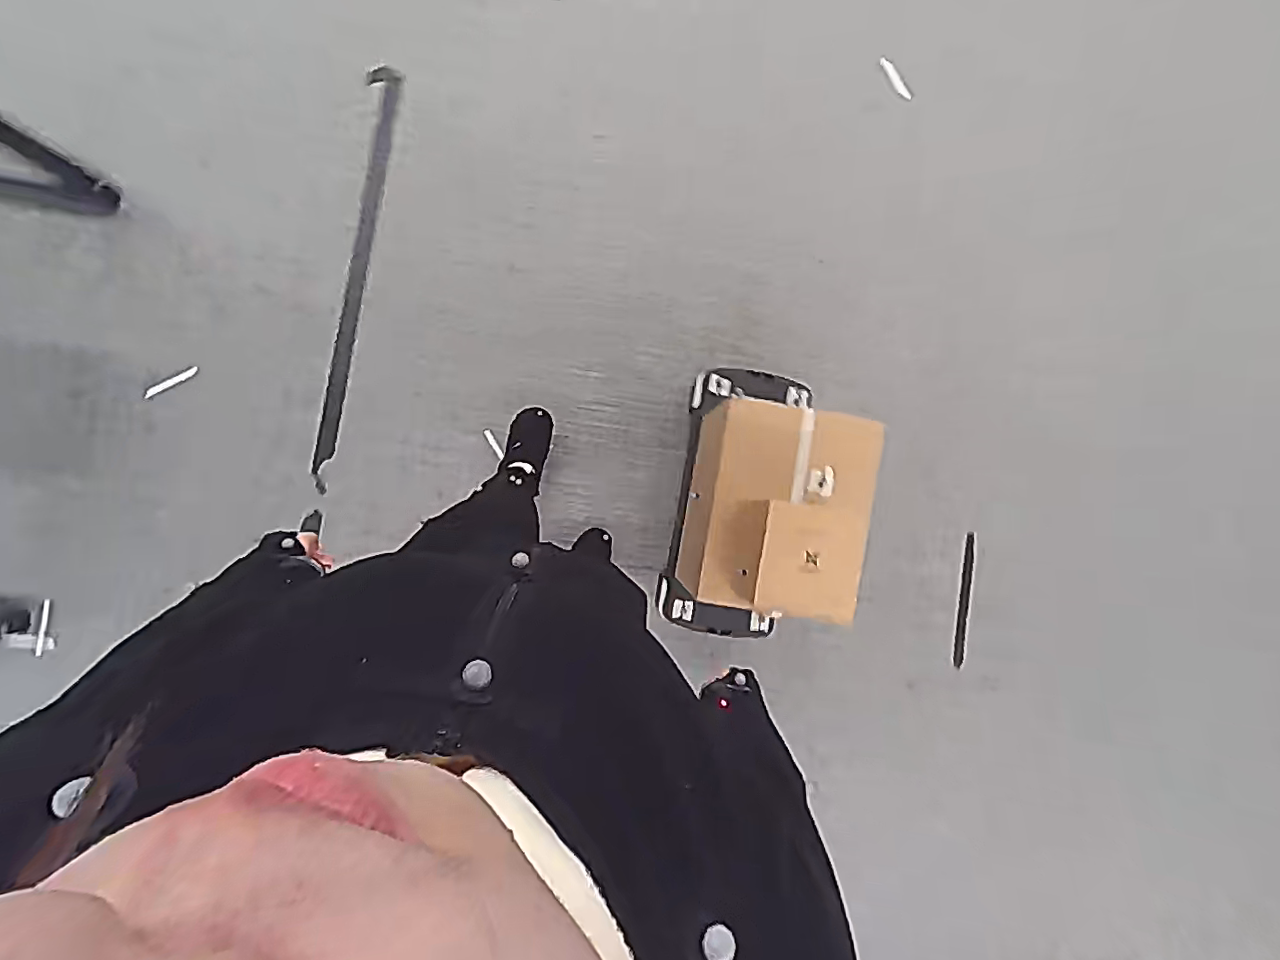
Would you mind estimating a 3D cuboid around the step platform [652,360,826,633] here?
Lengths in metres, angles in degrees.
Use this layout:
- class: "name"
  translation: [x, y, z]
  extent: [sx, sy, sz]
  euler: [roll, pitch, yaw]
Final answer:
- class: "step platform"
  translation: [0.253, 0.042, 1.413]
  extent: [0.286, 0.204, 0.684]
  euler: [16, 87, -3]

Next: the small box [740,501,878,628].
- class: "small box"
  translation: [0.278, 0.136, 0.927]
  extent: [0.168, 0.176, 0.179]
  euler: [11, 87, -3]

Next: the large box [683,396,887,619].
- class: "large box"
  translation: [0.289, 0.068, 1.176]
  extent: [0.320, 0.320, 0.408]
  euler: [10, 87, -4]
